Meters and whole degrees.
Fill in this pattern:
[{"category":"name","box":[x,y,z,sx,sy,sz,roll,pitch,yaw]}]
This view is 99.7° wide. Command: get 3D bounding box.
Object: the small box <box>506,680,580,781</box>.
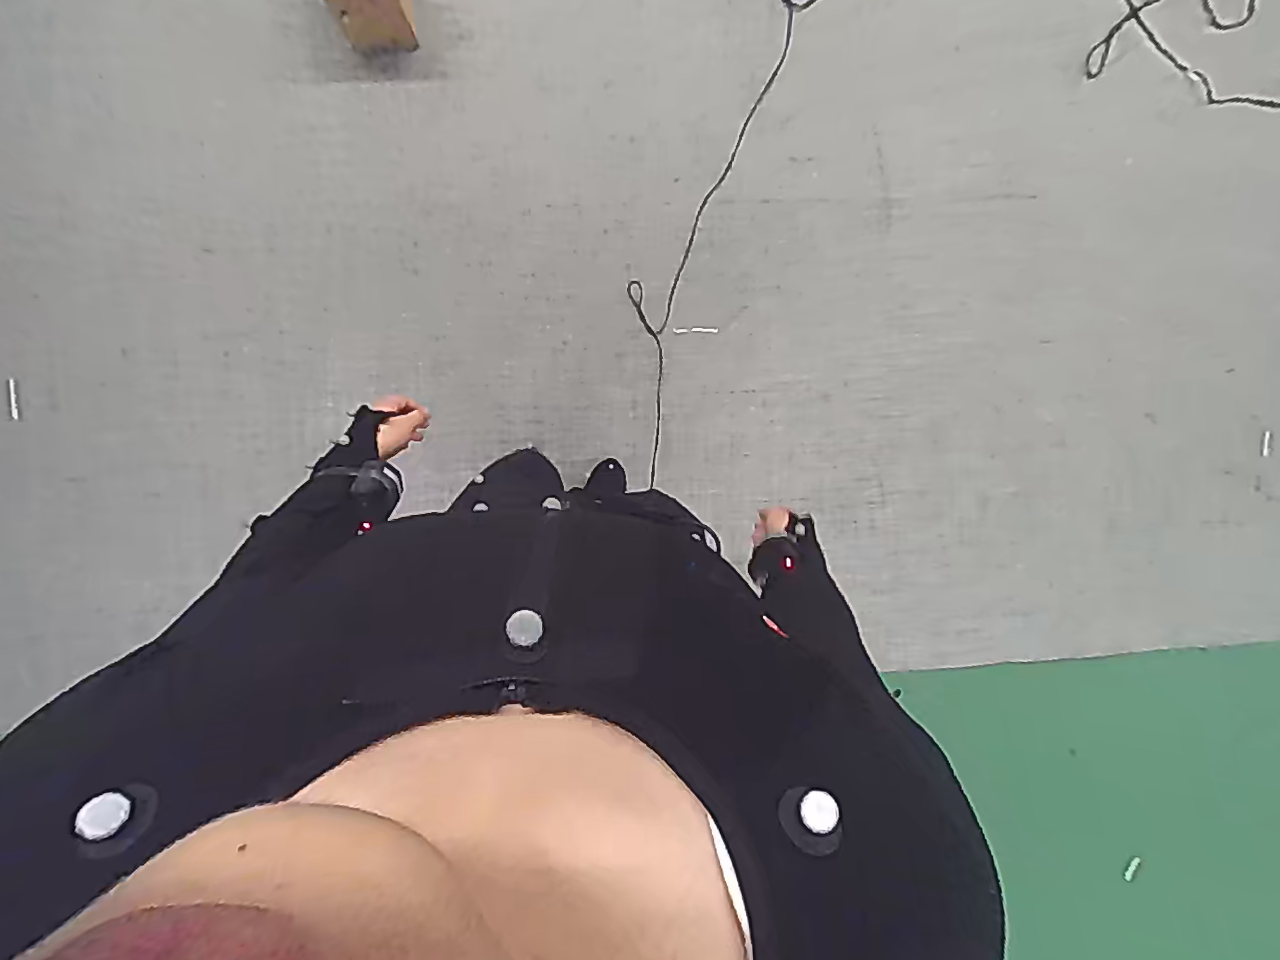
[{"category":"small box","box":[-0.241,0.632,1.377,0.168,0.176,0.179,3,93,-5]}]
